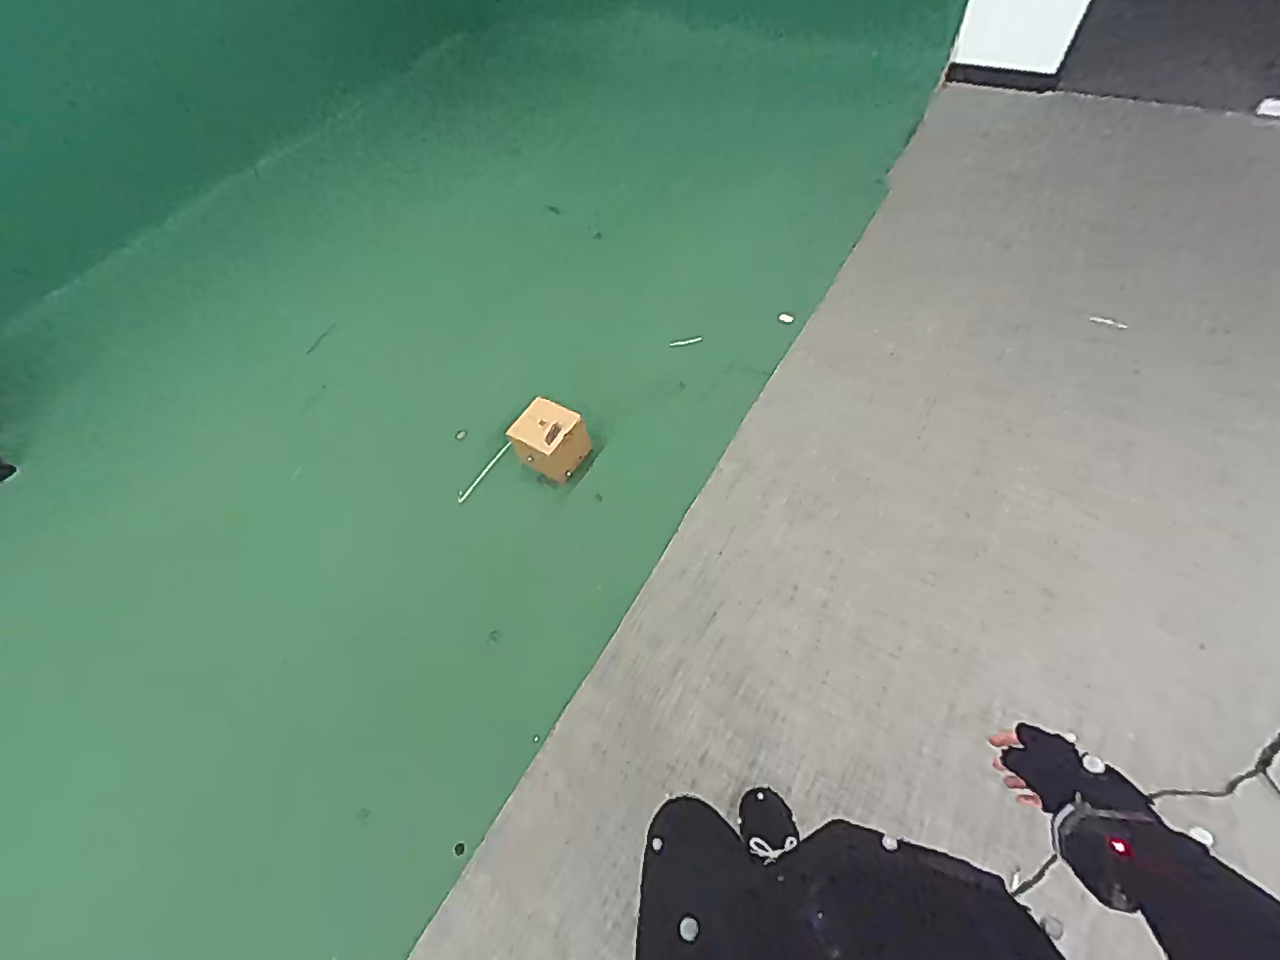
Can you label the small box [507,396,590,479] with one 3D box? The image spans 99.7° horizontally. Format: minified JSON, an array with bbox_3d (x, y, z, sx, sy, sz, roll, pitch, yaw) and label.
[{"bbox_3d":[-0.279,-0.127,1.698,0.179,0.176,0.168,26,66,22],"label":"small box"}]
